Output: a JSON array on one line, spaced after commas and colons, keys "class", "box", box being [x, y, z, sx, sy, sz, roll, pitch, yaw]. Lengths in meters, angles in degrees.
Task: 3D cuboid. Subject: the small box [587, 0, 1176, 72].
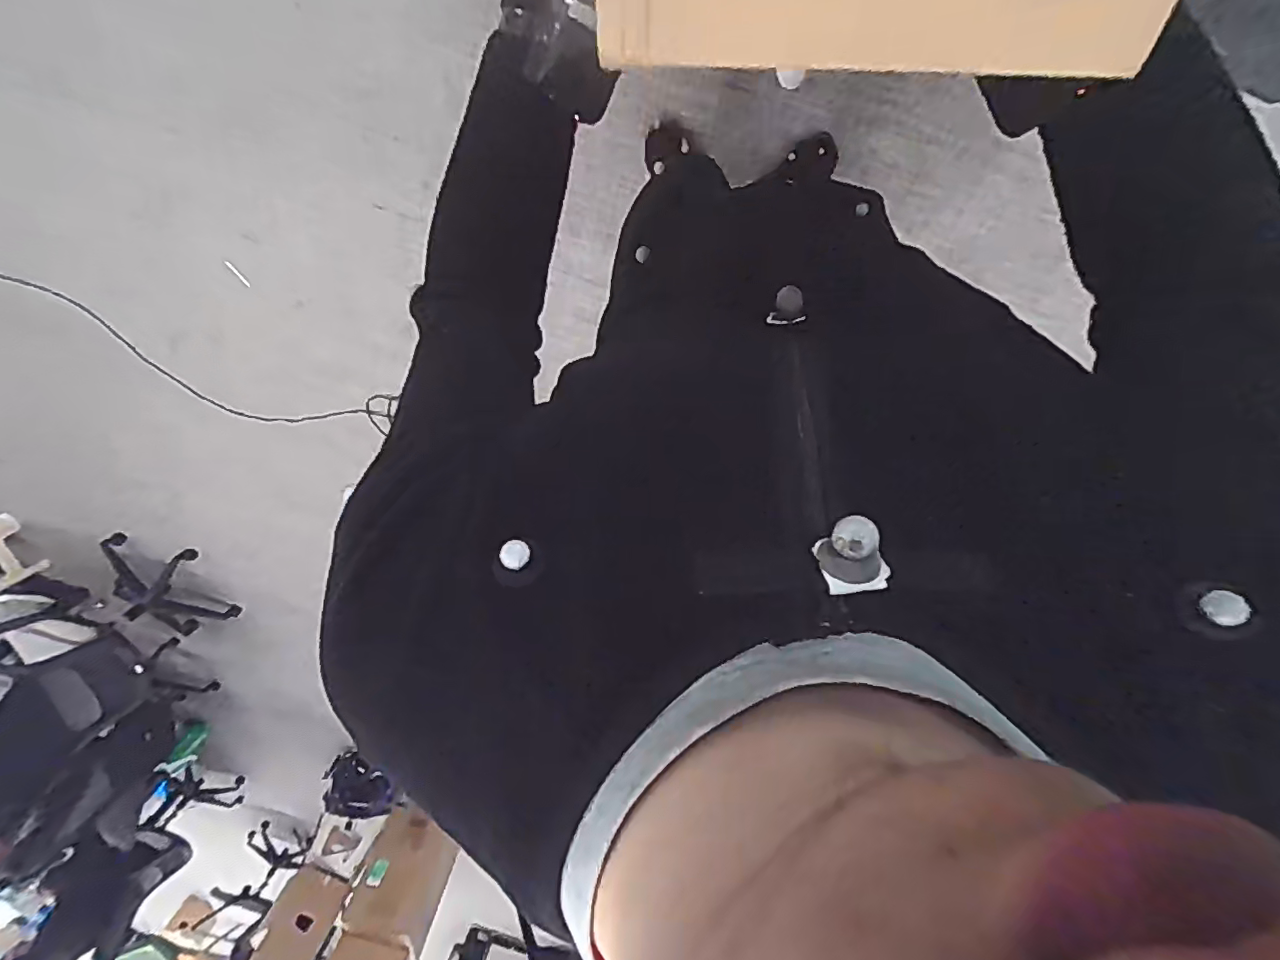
[{"class": "small box", "box": [0.076, -0.244, 0.162, 0.168, 0.176, 0.179, 5, 134, 4]}]
